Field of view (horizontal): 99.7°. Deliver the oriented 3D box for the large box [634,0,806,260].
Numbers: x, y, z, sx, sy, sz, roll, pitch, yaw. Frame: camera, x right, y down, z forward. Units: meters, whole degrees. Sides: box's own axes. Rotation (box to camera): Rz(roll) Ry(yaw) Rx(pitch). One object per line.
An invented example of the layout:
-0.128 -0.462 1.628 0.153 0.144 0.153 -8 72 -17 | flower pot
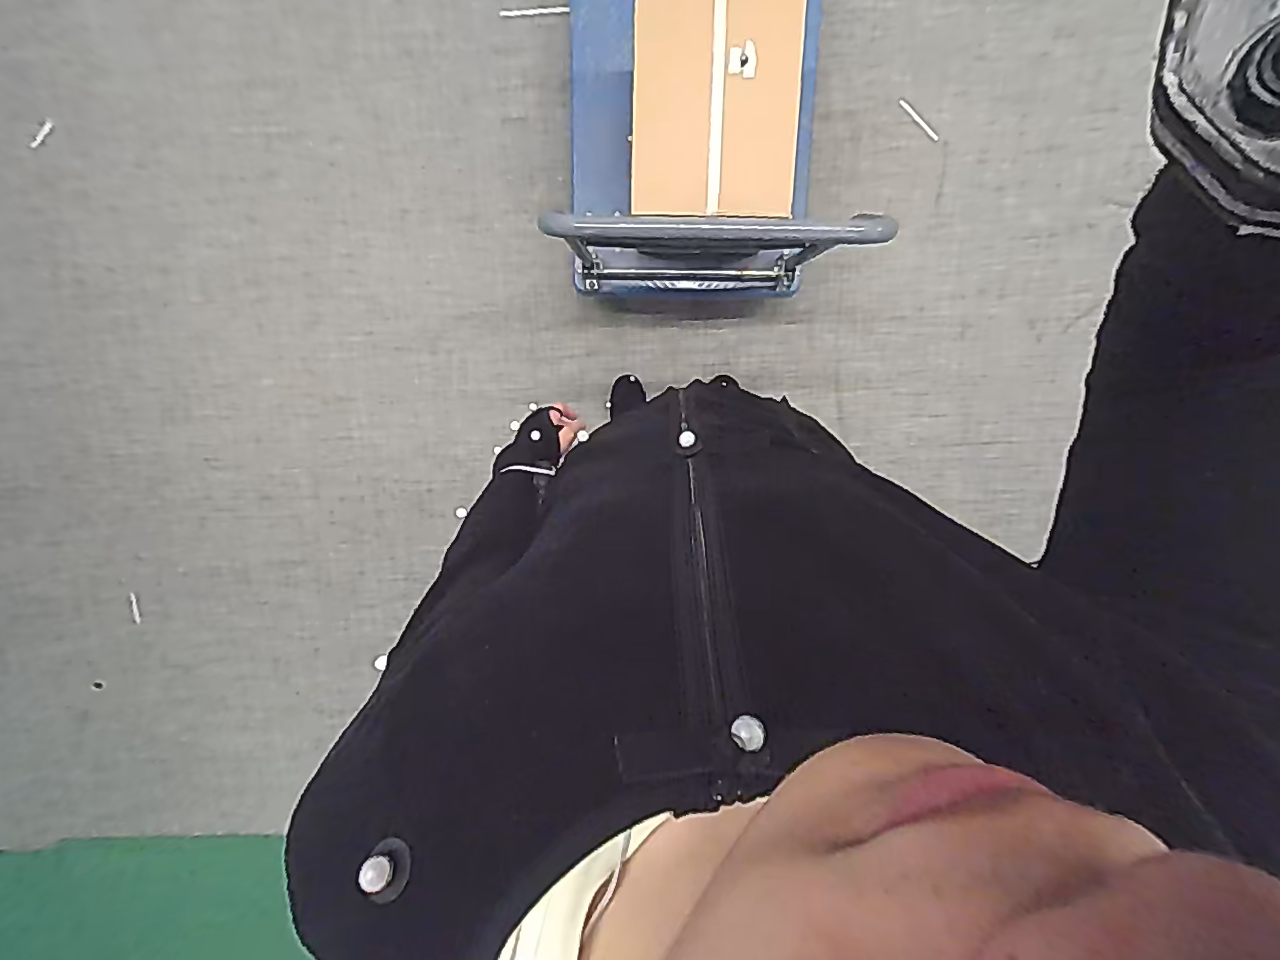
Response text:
0.152 -0.716 1.158 0.320 0.320 0.408 1 99 1 | large box
